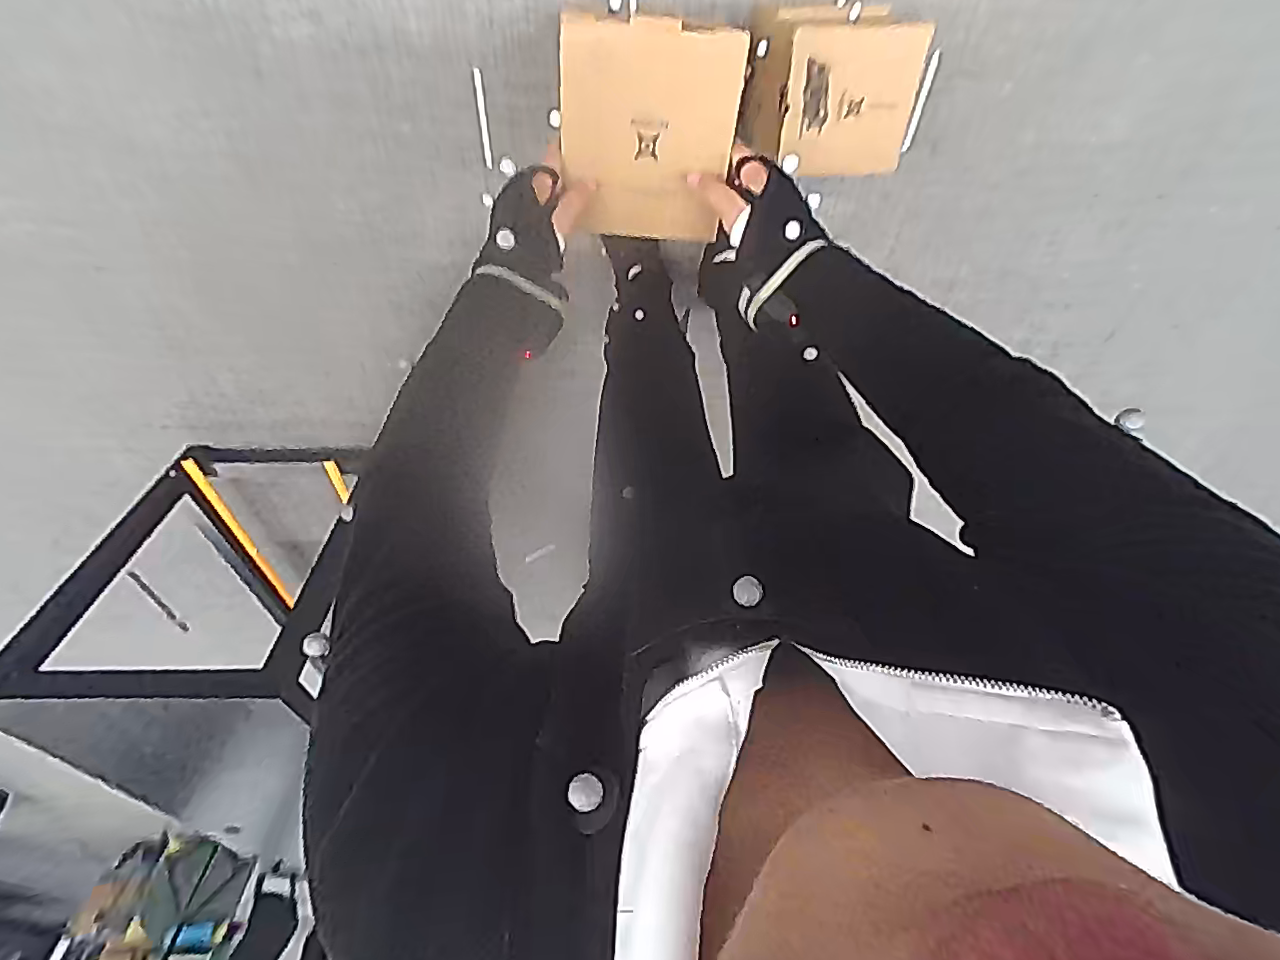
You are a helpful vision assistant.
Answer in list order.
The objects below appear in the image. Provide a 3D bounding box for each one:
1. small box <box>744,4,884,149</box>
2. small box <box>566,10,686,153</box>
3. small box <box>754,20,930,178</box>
[{"bbox_3d":[0.271,-0.662,0.892,0.168,0.176,0.179,-2,134,-1],"label":"small box"},{"bbox_3d":[-0.027,-0.653,0.885,0.179,0.176,0.168,1,133,-3],"label":"small box"},{"bbox_3d":[0.269,-0.545,0.775,0.179,0.176,0.168,-2,134,-1],"label":"small box"}]
